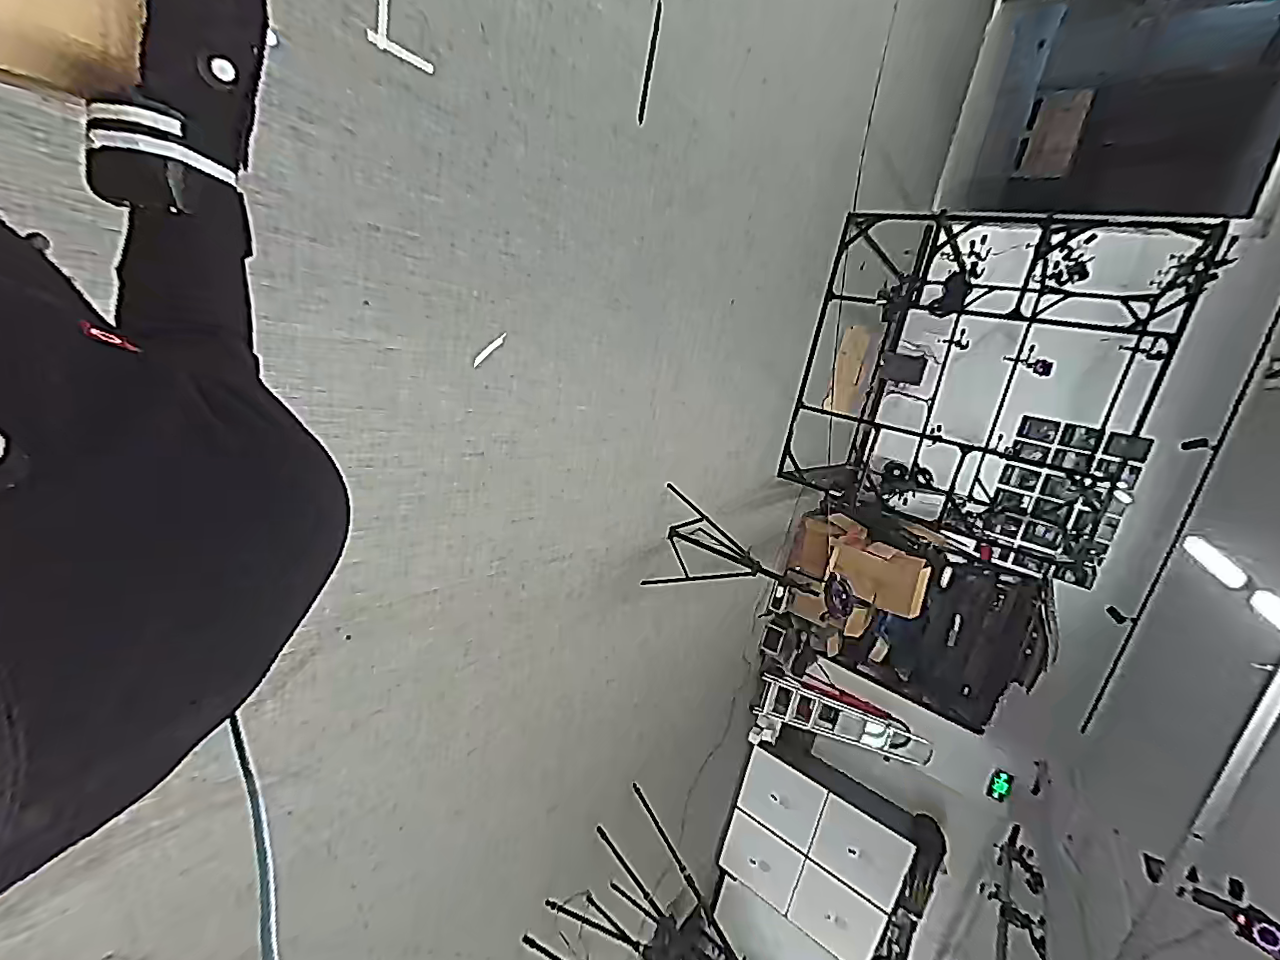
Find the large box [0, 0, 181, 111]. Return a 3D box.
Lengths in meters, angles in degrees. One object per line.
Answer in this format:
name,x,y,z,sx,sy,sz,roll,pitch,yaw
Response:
large box,-0.553,-0.459,0.289,0.408,0.320,0.320,-11,123,-54
